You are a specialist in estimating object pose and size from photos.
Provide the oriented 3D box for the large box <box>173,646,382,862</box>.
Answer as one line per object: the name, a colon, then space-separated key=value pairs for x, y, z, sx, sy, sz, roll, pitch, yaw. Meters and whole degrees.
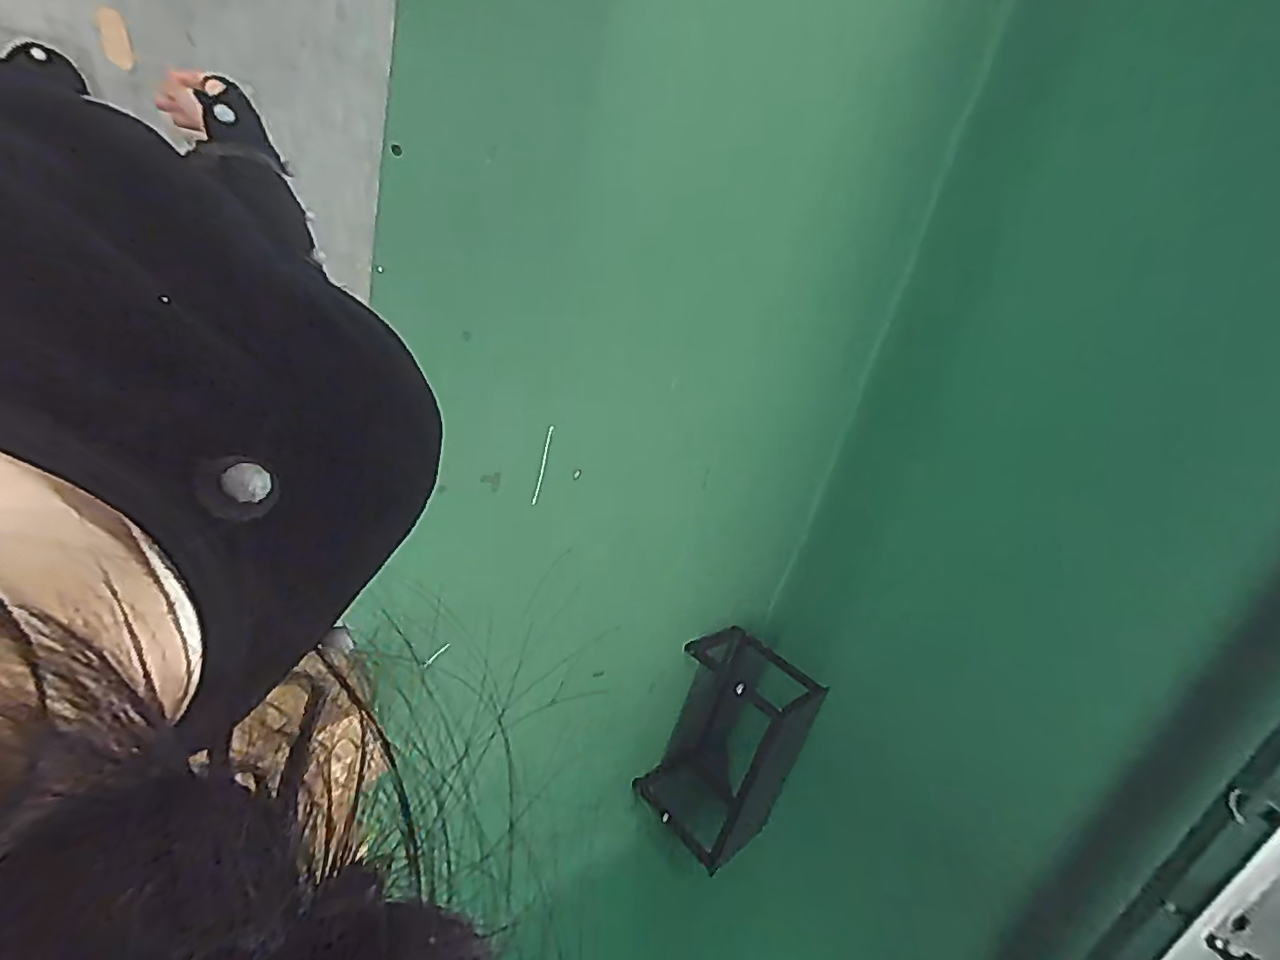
large box: x=-1.037 y=0.768 z=1.575 sx=0.408 sy=0.320 sz=0.320 roll=-22 pitch=130 yaw=-40

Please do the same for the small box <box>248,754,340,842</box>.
small box: x=-0.885 y=0.845 z=1.392 sx=0.168 sy=0.176 sz=0.179 roll=-15 pitch=123 yaw=-41

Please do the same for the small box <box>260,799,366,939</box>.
small box: x=-0.779 y=0.915 z=1.292 sx=0.179 sy=0.176 sz=0.168 roll=-13 pitch=122 yaw=-42
